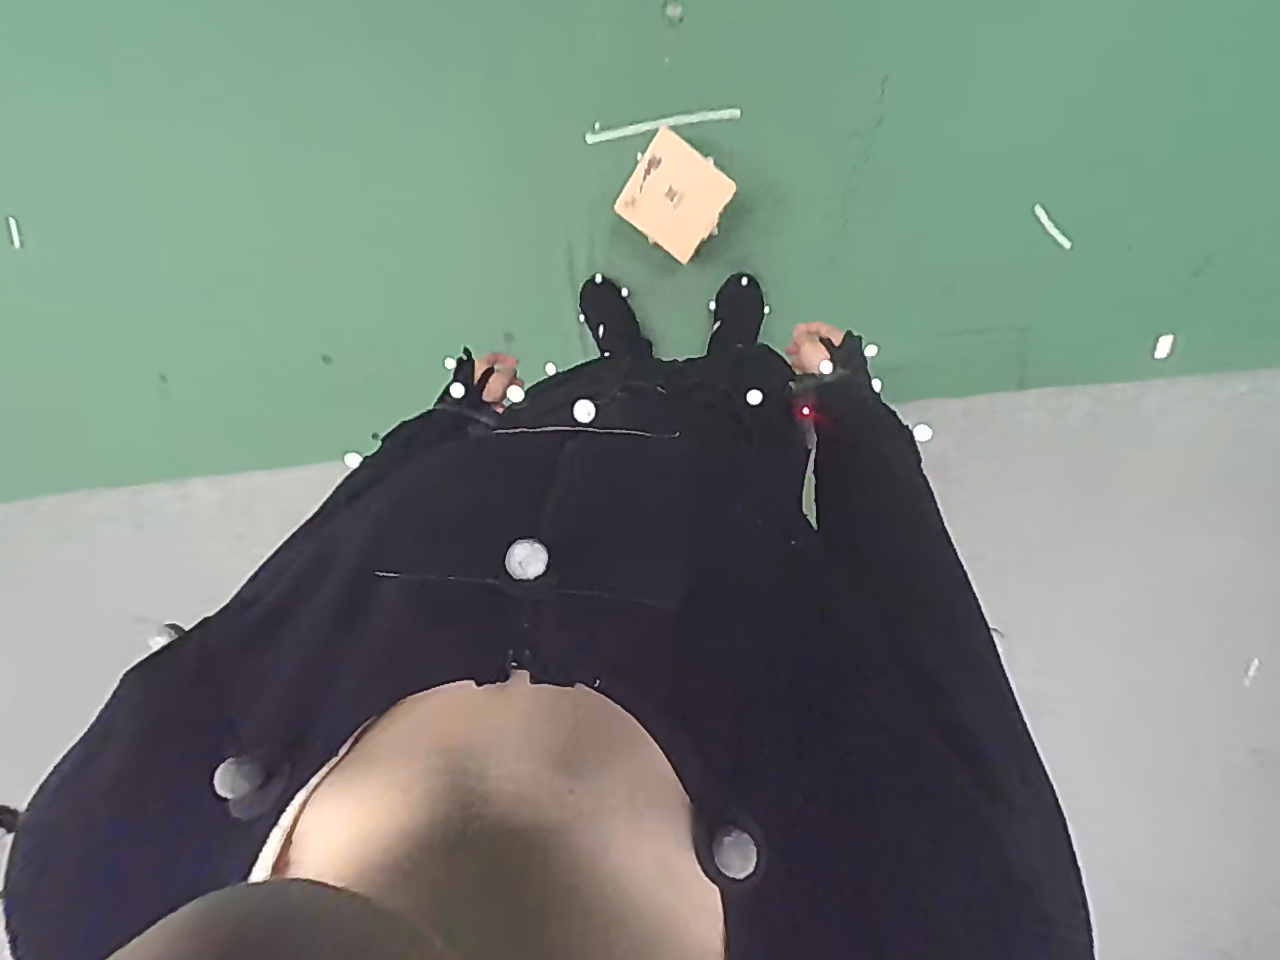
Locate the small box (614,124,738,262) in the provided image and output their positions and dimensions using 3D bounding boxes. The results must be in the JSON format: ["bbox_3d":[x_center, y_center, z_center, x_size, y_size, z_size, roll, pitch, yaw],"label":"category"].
[{"bbox_3d":[0.073,-0.564,1.073,0.179,0.176,0.168,35,114,-10],"label":"small box"}]
